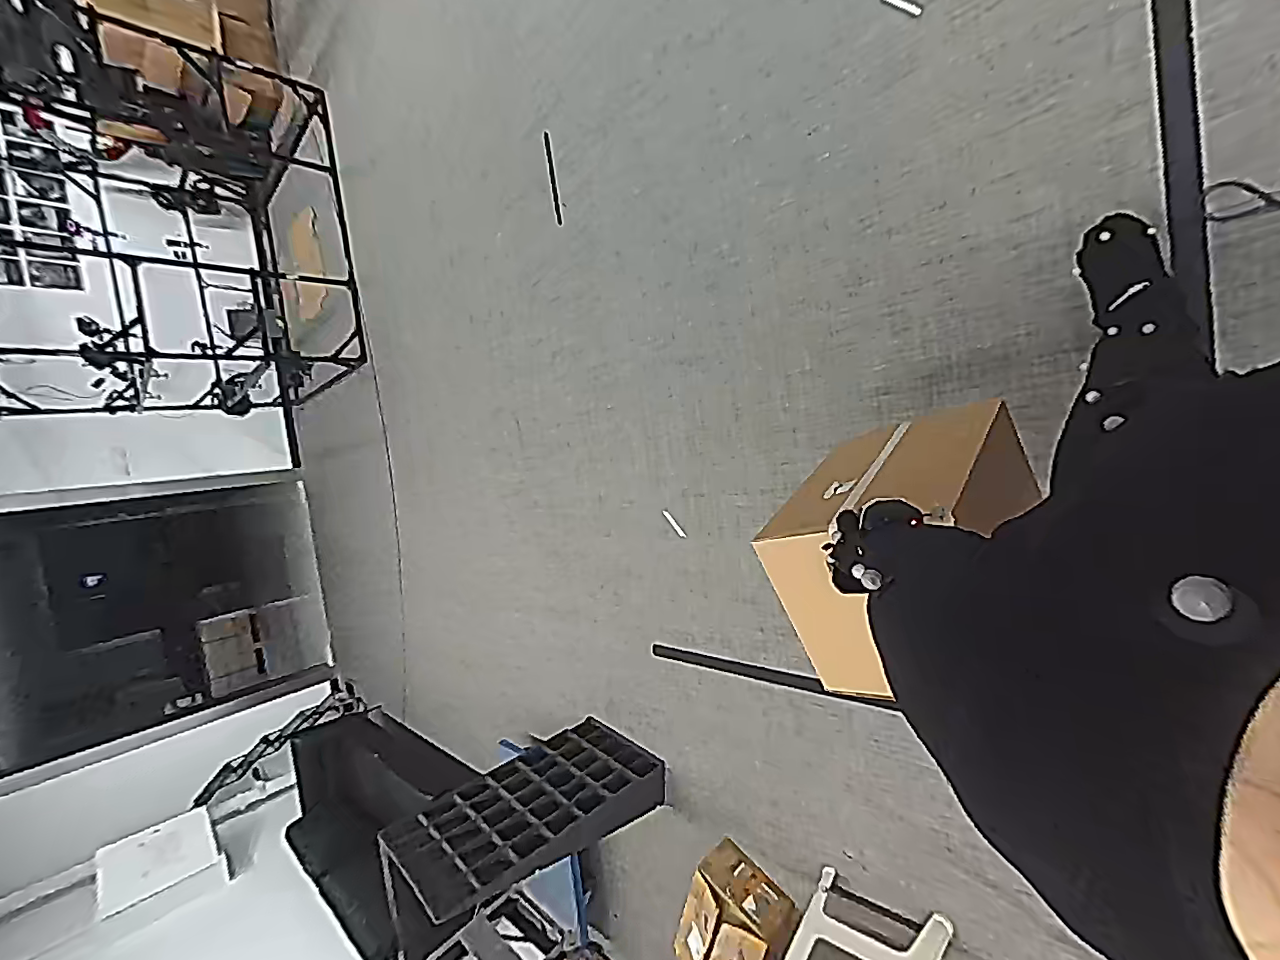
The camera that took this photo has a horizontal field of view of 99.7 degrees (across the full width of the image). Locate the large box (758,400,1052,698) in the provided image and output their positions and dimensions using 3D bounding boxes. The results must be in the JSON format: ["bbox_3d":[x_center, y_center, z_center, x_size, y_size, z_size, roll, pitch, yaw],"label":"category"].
[{"bbox_3d":[0.477,0.108,0.942,0.320,0.408,0.320,-19,104,47],"label":"large box"}]
